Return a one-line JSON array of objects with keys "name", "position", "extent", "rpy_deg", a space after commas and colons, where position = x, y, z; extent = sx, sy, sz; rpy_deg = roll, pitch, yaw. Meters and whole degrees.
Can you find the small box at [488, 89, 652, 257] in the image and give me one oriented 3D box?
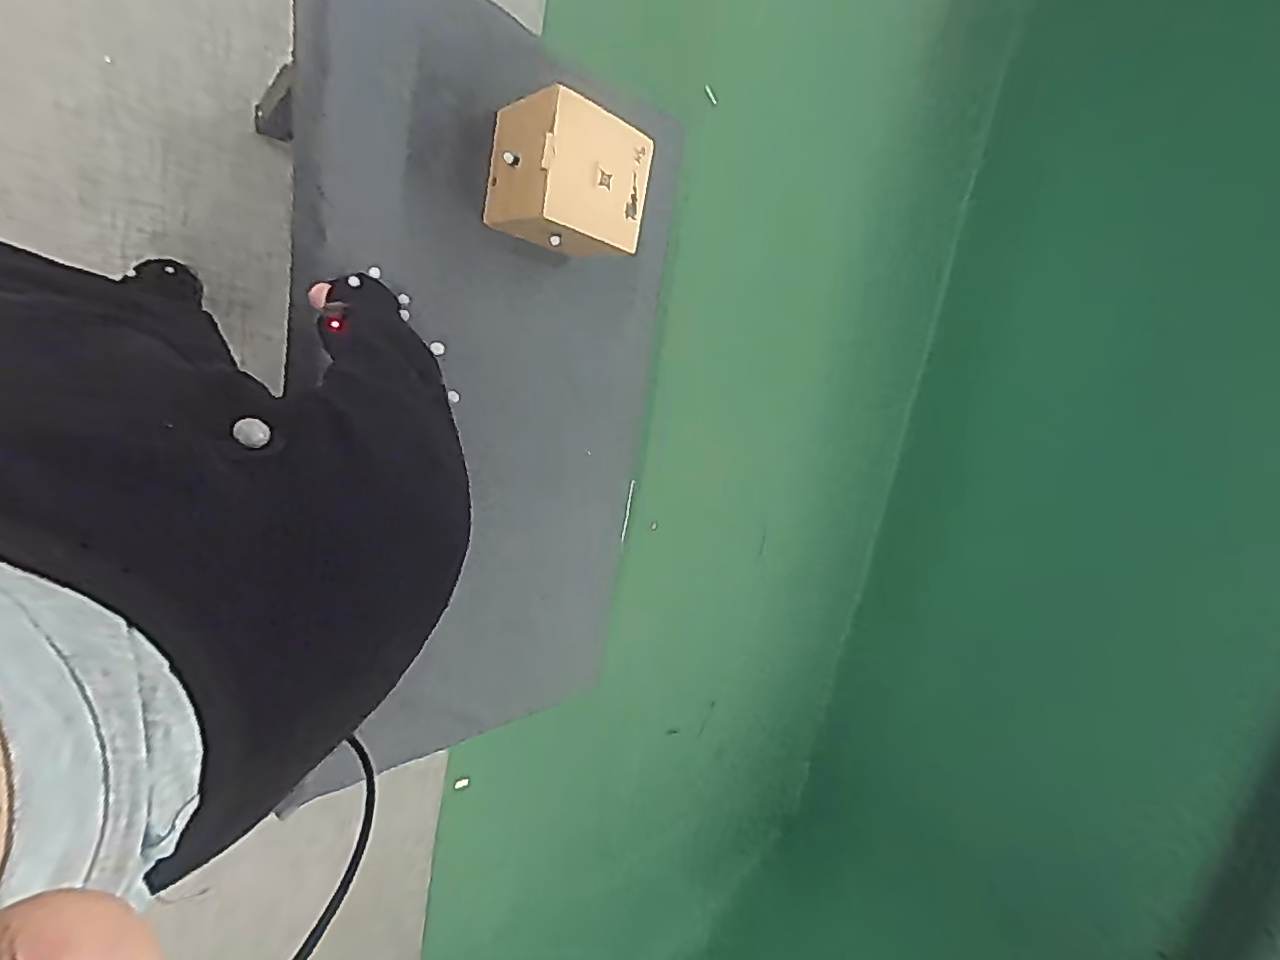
[{"name": "small box", "position": [-0.112, -0.446, 0.823], "extent": [0.179, 0.176, 0.168], "rpy_deg": [1, 105, -43]}]
